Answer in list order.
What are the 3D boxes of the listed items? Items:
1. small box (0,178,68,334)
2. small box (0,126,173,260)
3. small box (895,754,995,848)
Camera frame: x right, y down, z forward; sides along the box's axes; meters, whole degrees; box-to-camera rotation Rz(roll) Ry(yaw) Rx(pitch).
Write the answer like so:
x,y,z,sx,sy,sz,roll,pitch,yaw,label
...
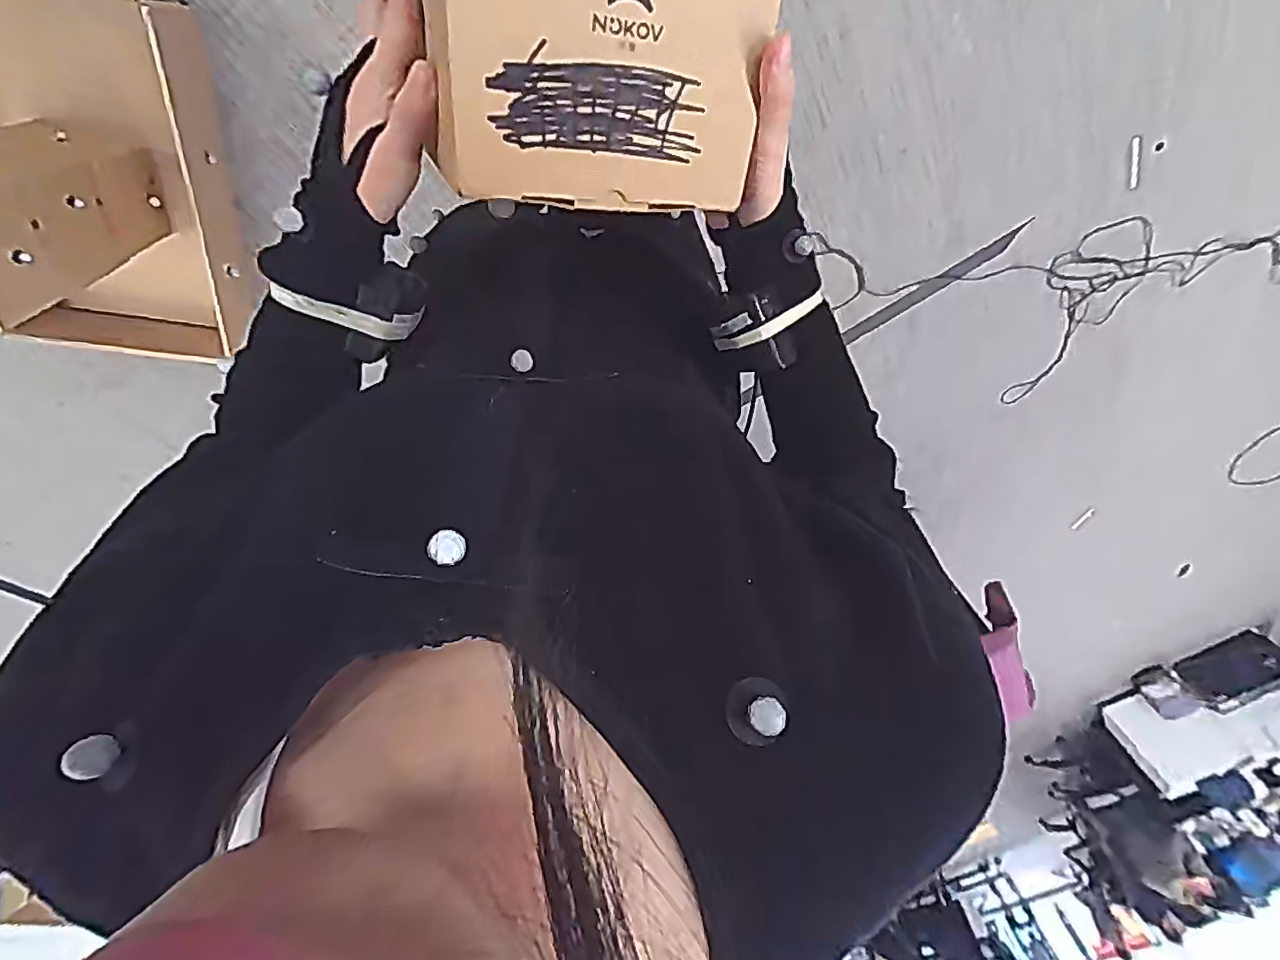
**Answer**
x,y,z,sx,sy,sz,roll,pitch,yaw,label
-0.950,-0.315,0.736,0.179,0.176,0.168,0,128,-14,small box
-1.008,-0.523,0.982,0.179,0.176,0.168,4,129,-17,small box
0.843,0.889,1.505,0.168,0.176,0.179,-33,129,15,small box
